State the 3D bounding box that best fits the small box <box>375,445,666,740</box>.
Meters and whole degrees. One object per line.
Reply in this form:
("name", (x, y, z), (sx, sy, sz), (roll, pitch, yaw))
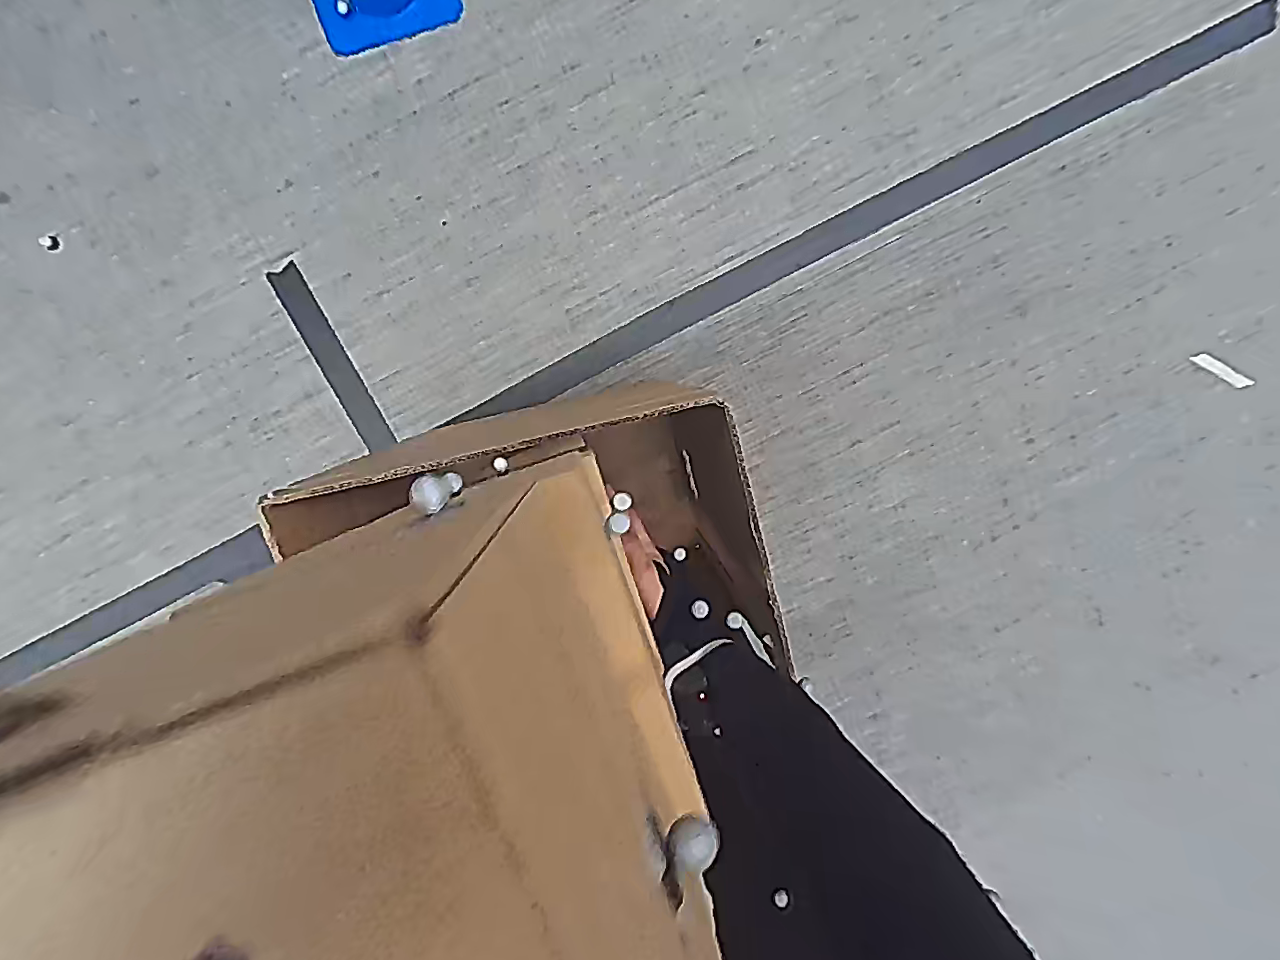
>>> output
("small box", (-0.091, 0.074, 0.460), (0.168, 0.176, 0.179), (-17, 98, -5))
